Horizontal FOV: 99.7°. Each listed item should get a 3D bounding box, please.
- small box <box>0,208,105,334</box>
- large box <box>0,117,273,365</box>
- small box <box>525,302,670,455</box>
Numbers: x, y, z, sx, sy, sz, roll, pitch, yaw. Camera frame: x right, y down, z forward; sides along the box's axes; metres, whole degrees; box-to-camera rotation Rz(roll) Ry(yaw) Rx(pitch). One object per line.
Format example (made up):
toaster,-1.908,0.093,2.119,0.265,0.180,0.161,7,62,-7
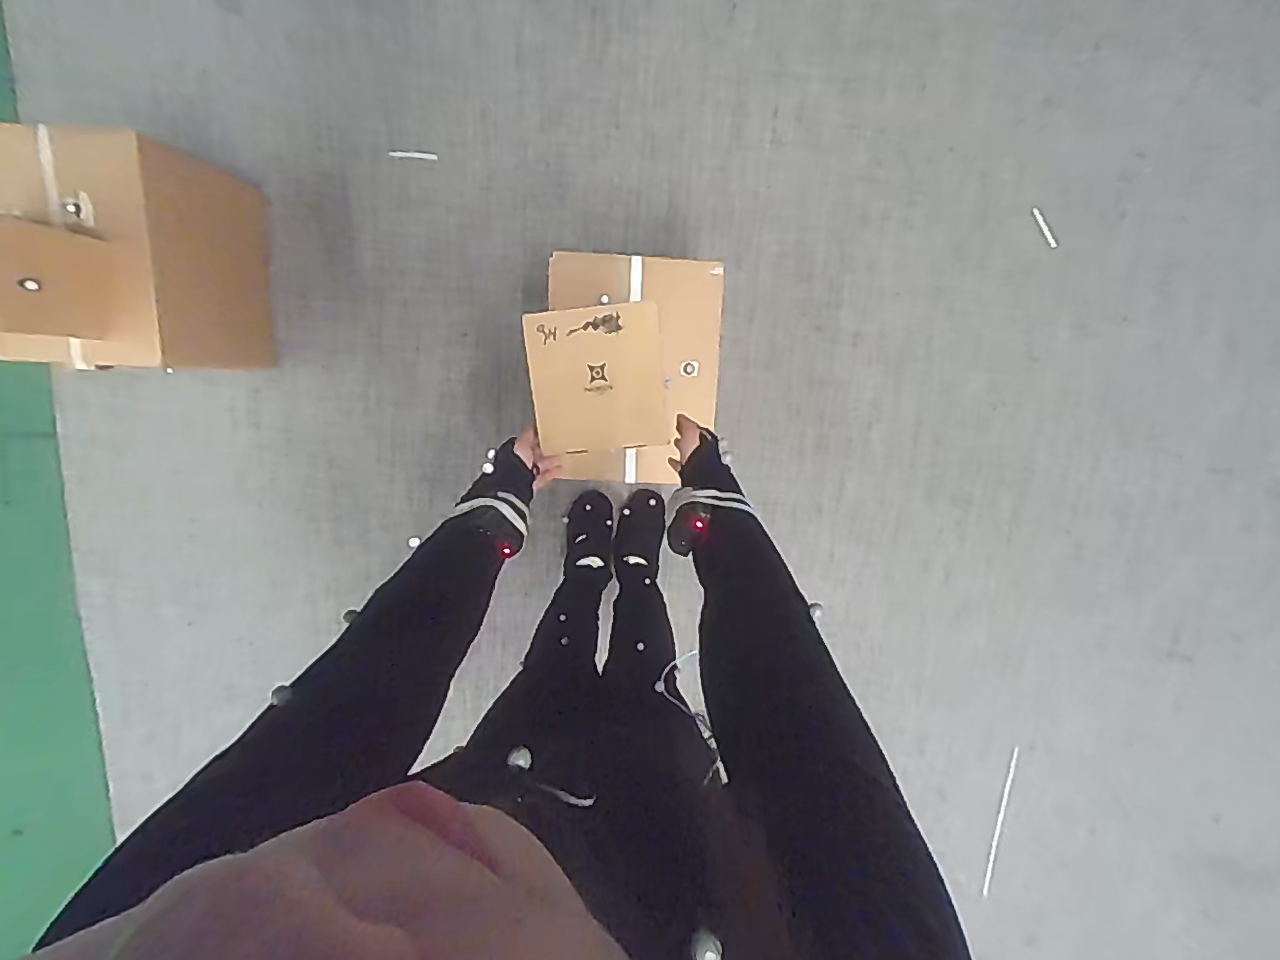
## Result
small box,-1.026,-0.346,0.874,0.168,0.176,0.179,14,102,-2
large box,-1.013,-0.445,1.101,0.320,0.320,0.408,3,101,0
small box,-0.046,-0.139,0.737,0.168,0.176,0.179,-5,103,3
